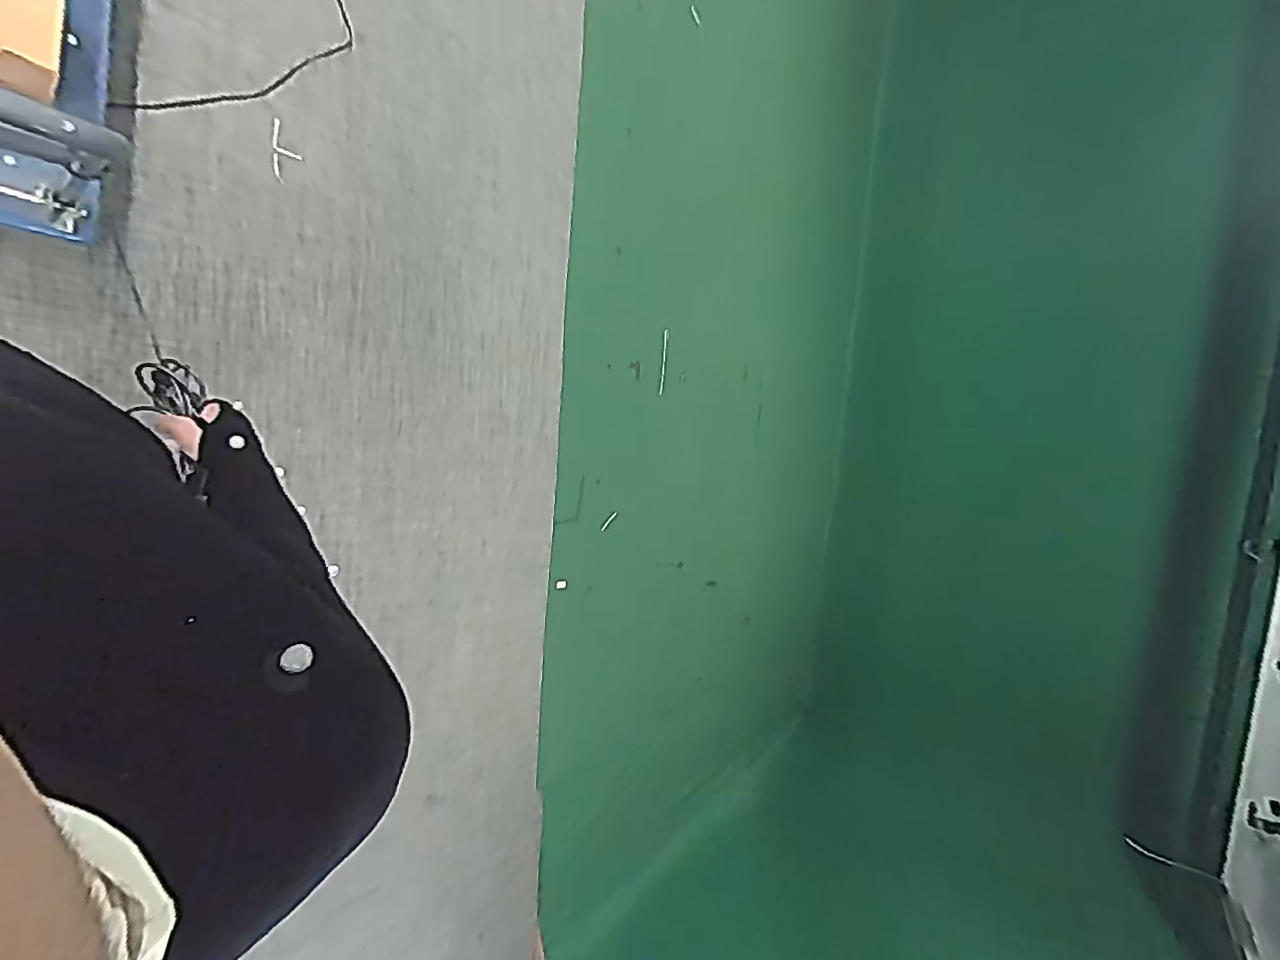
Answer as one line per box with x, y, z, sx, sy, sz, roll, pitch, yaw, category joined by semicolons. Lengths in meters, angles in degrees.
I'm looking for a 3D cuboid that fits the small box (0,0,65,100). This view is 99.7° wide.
-1.027;-0.744;0.841;0.168;0.176;0.179;5;95;-51;small box
